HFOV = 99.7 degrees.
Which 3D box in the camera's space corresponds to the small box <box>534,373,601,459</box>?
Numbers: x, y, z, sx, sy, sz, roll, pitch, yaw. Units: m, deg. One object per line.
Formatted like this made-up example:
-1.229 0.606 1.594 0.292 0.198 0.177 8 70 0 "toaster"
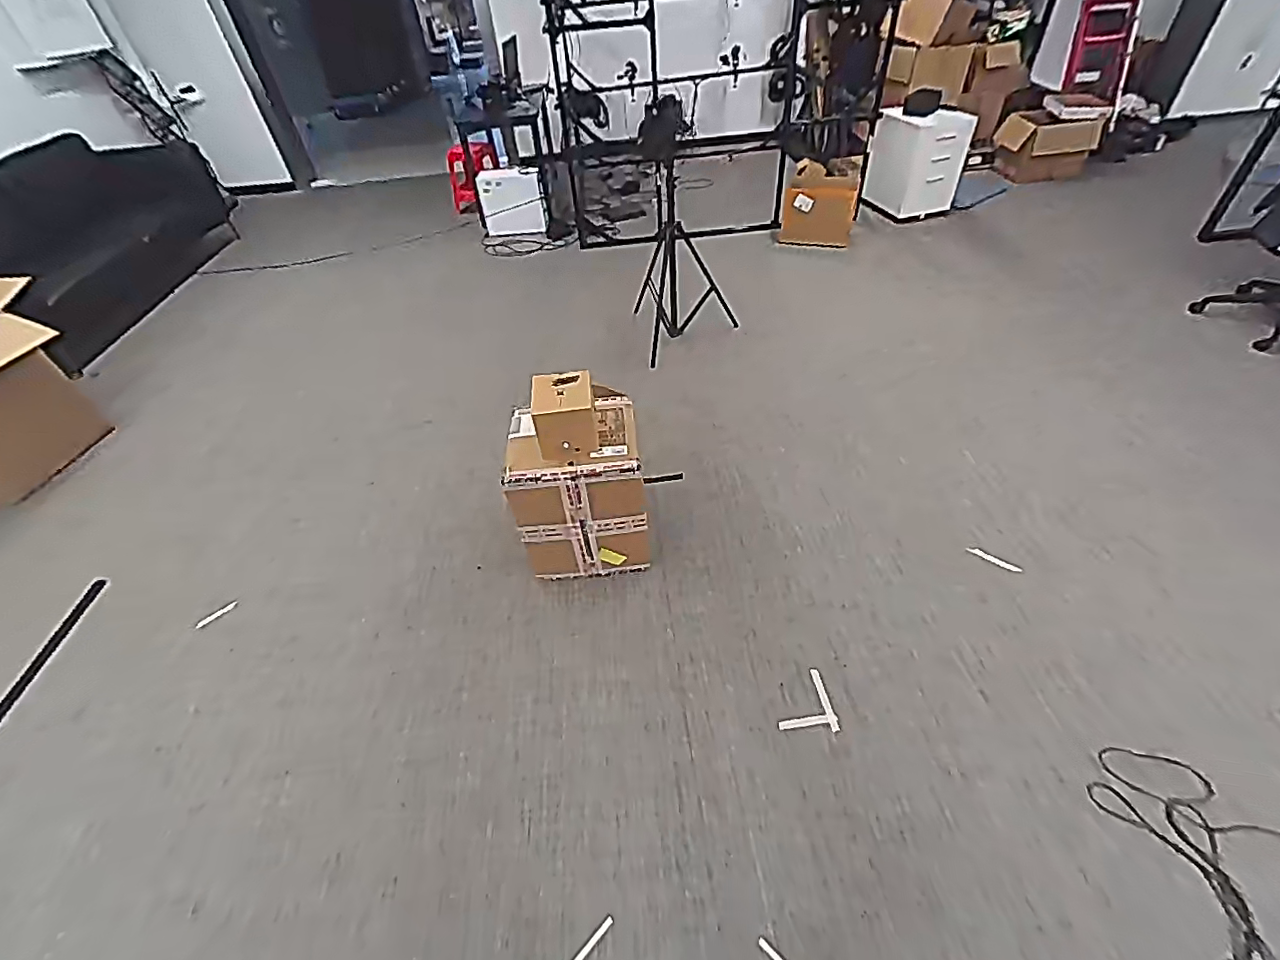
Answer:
-0.204 -0.183 1.556 0.168 0.176 0.179 -7 48 -1 "small box"
